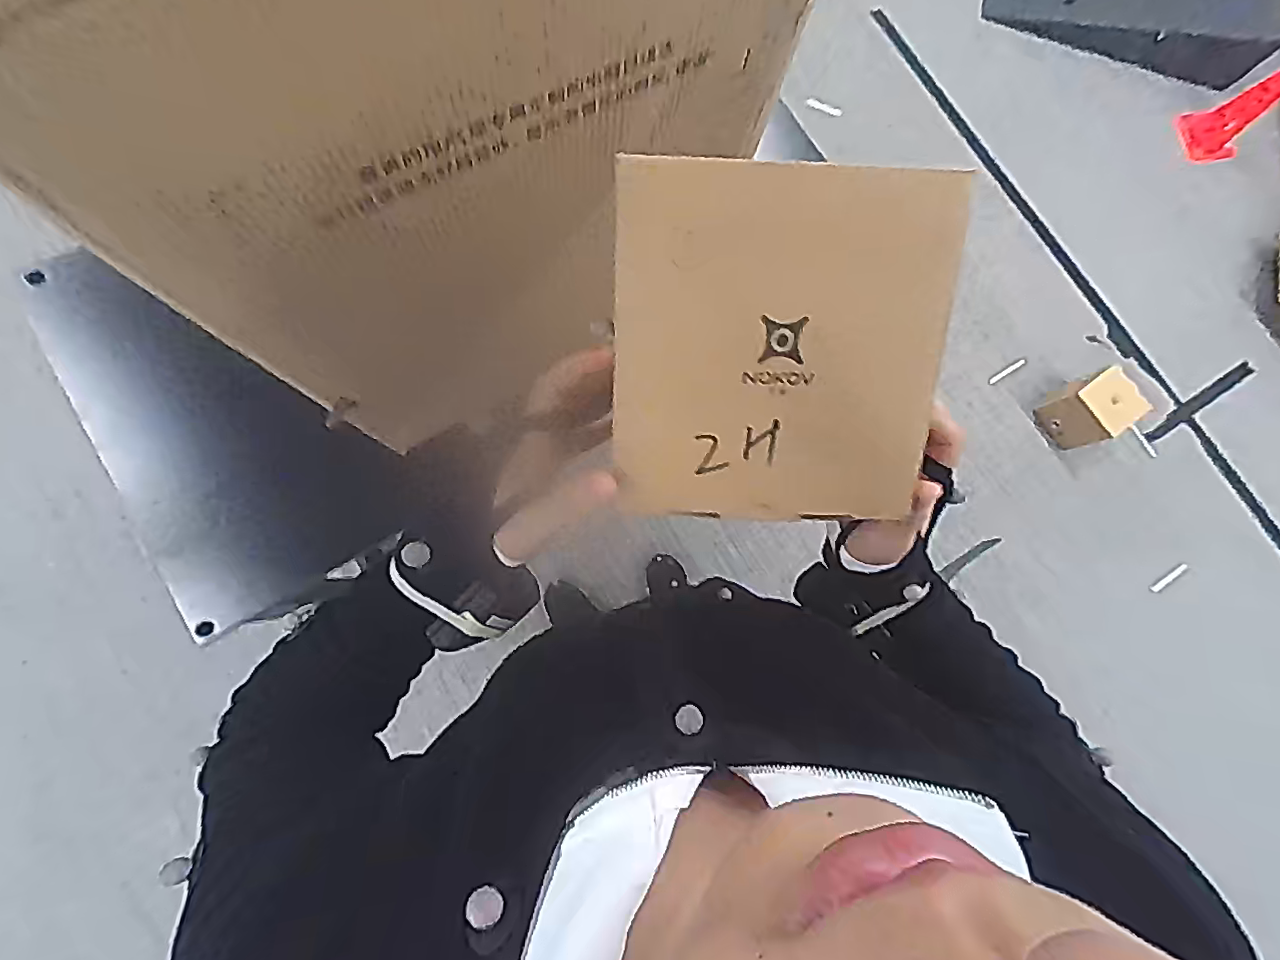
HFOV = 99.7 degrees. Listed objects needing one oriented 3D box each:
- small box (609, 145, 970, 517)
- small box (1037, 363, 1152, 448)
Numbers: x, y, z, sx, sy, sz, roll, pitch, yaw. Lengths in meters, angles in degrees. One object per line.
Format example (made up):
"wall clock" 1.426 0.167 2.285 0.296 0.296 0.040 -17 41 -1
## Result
"small box" 0.067 -0.089 0.347 0.168 0.176 0.179 2 108 -1
"small box" 1.379 -0.222 1.652 0.179 0.176 0.168 -35 84 -9
